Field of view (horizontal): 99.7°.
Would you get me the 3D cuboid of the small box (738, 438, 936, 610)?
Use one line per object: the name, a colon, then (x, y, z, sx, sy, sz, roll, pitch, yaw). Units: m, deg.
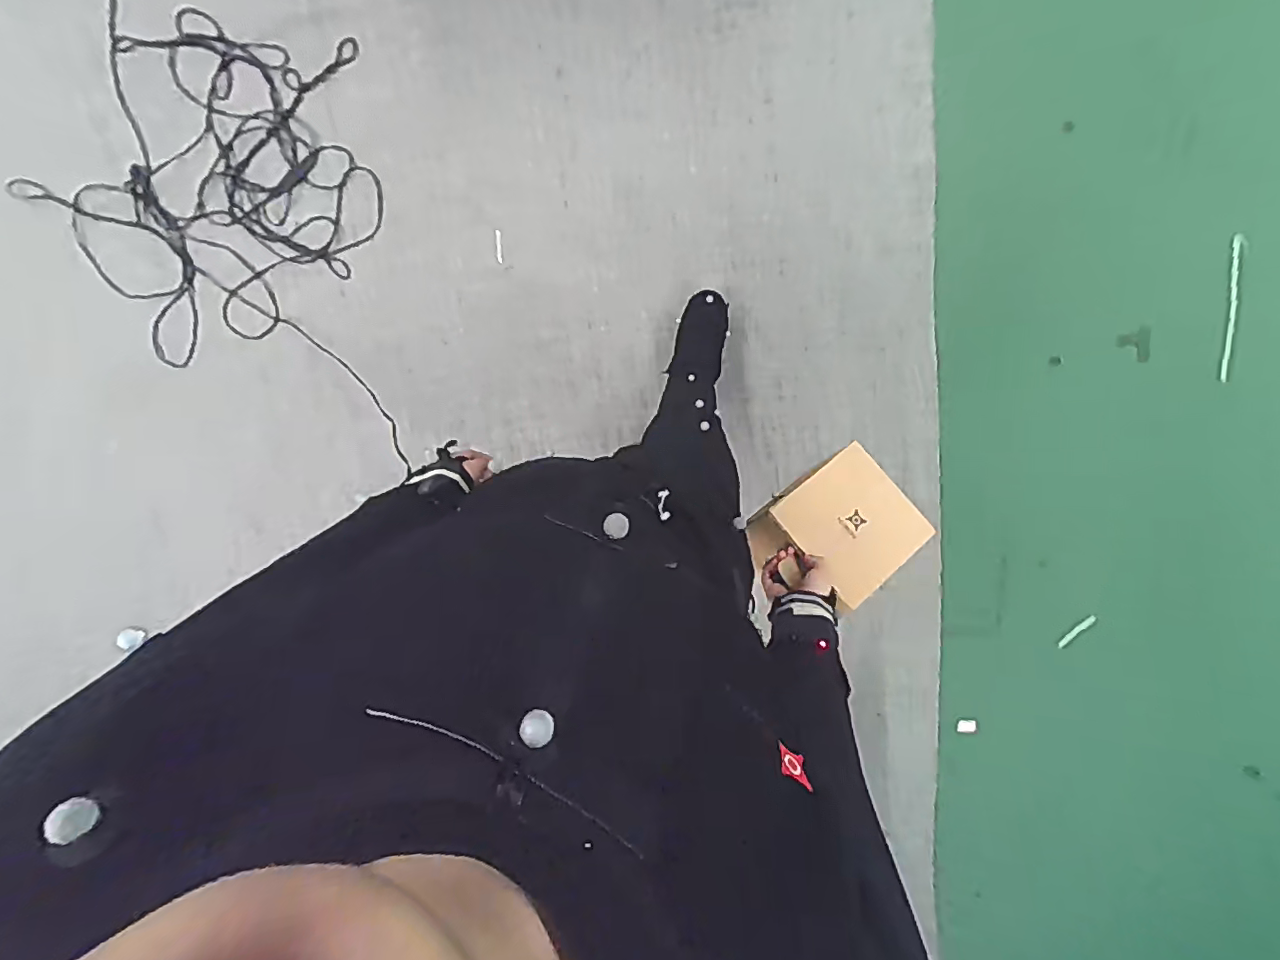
small box: (0.274, 0.071, 0.791, 0.179, 0.176, 0.168, -38, 83, -16)
